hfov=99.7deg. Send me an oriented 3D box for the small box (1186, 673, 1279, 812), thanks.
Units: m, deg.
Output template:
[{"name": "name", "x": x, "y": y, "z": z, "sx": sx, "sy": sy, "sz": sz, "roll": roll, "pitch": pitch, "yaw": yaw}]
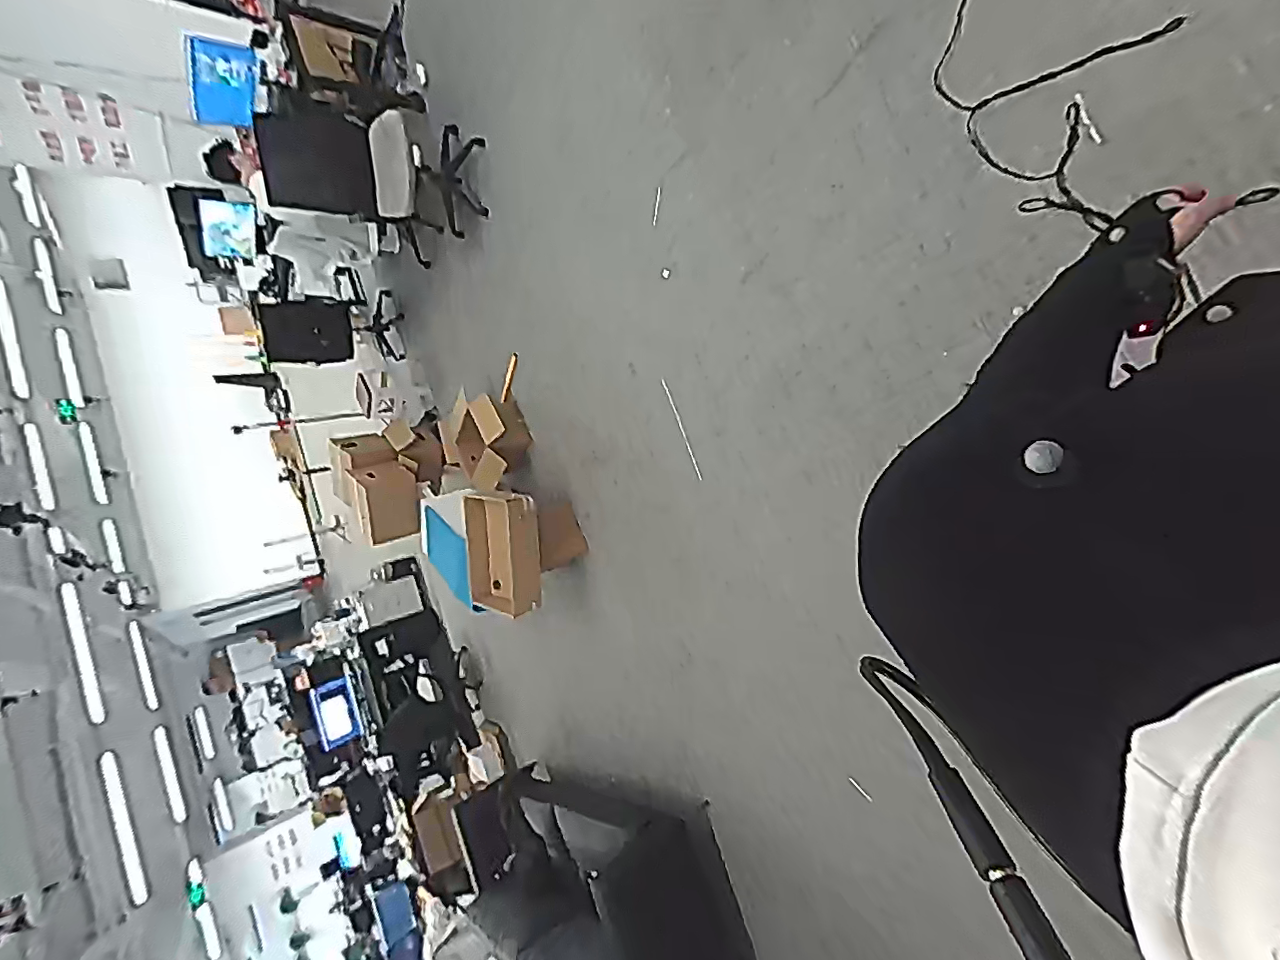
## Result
[{"name": "small box", "x": 1.148, "y": 0.481, "z": 1.000, "sx": 0.168, "sy": 0.176, "sz": 0.179, "roll": -12, "pitch": 93, "yaw": 52}]
